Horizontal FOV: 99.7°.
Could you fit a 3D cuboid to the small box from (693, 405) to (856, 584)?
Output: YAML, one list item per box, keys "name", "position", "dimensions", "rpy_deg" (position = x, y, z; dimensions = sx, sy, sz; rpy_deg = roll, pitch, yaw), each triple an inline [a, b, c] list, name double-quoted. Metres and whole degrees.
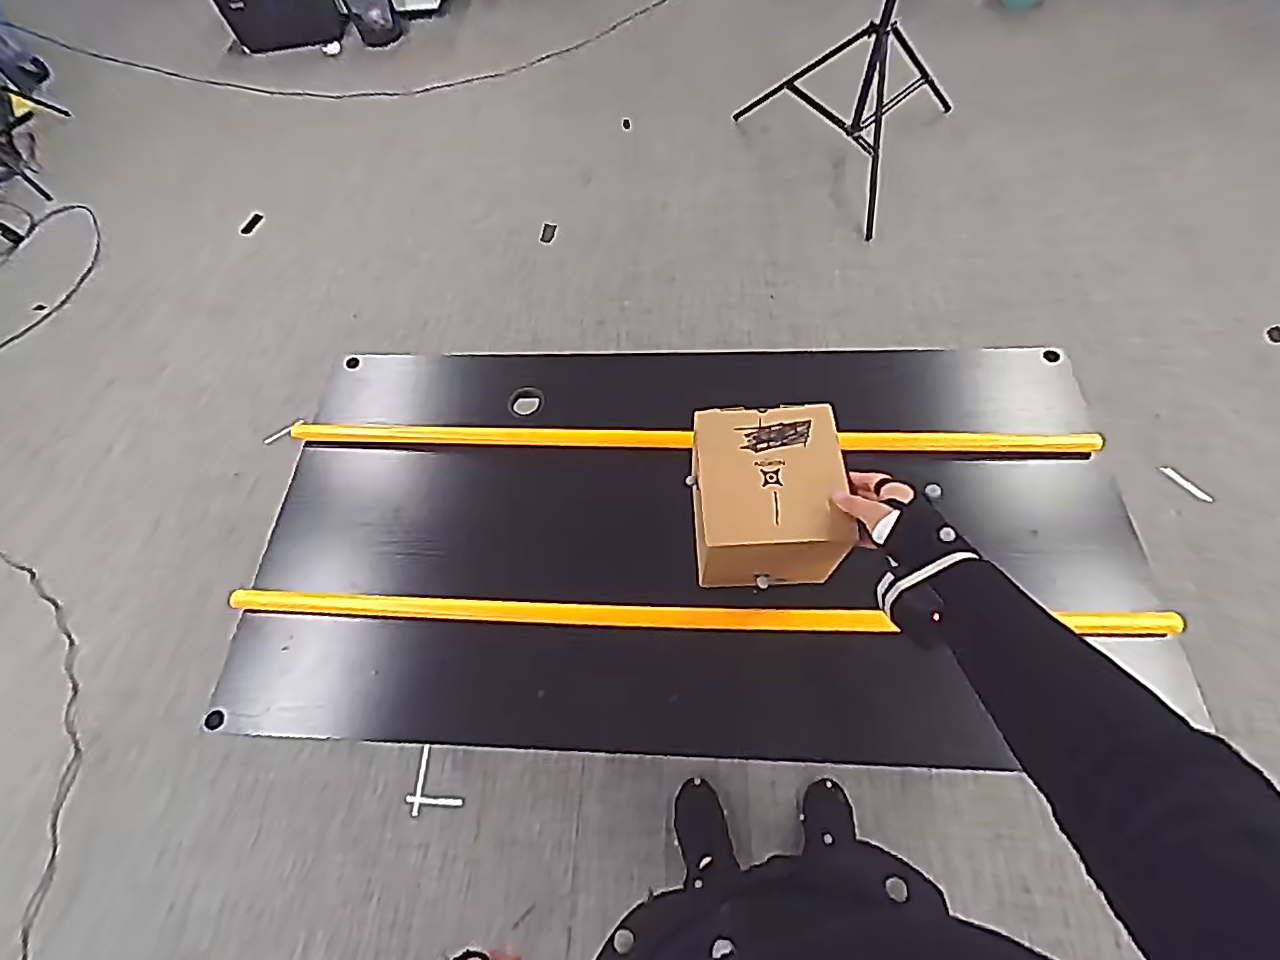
- name: "small box"
  position: [0.156, 0.024, 0.694]
  dimensions: [0.168, 0.176, 0.179]
  rpy_deg: [-3, 64, 3]
